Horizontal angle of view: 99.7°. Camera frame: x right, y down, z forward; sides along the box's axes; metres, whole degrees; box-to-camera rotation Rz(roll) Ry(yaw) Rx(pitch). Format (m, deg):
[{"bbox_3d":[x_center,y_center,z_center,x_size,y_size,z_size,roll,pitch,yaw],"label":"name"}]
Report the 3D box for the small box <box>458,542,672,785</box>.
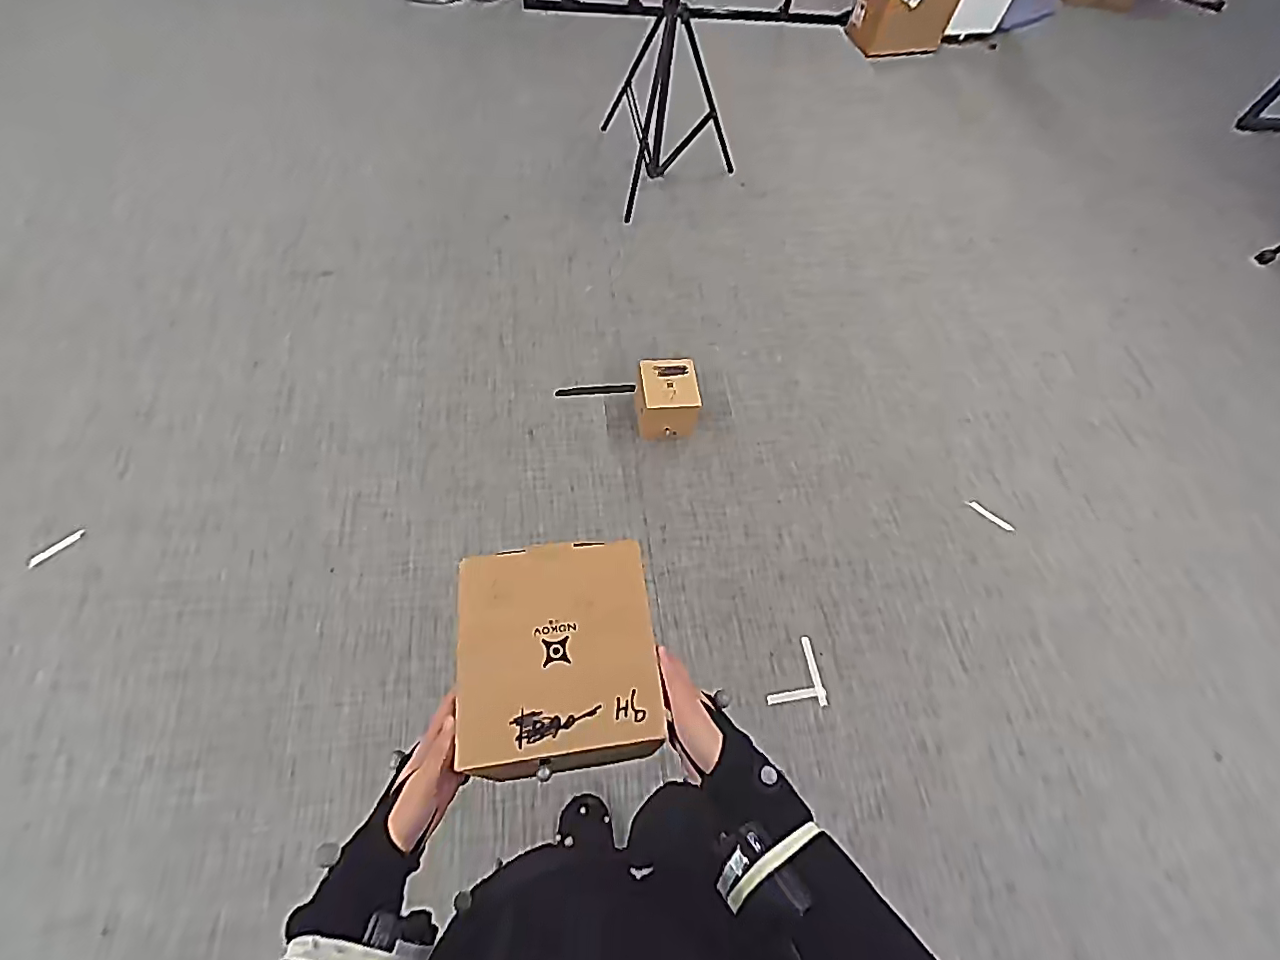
[{"bbox_3d":[-0.072,0.180,0.522,0.168,0.176,0.179,-6,59,-7],"label":"small box"}]
